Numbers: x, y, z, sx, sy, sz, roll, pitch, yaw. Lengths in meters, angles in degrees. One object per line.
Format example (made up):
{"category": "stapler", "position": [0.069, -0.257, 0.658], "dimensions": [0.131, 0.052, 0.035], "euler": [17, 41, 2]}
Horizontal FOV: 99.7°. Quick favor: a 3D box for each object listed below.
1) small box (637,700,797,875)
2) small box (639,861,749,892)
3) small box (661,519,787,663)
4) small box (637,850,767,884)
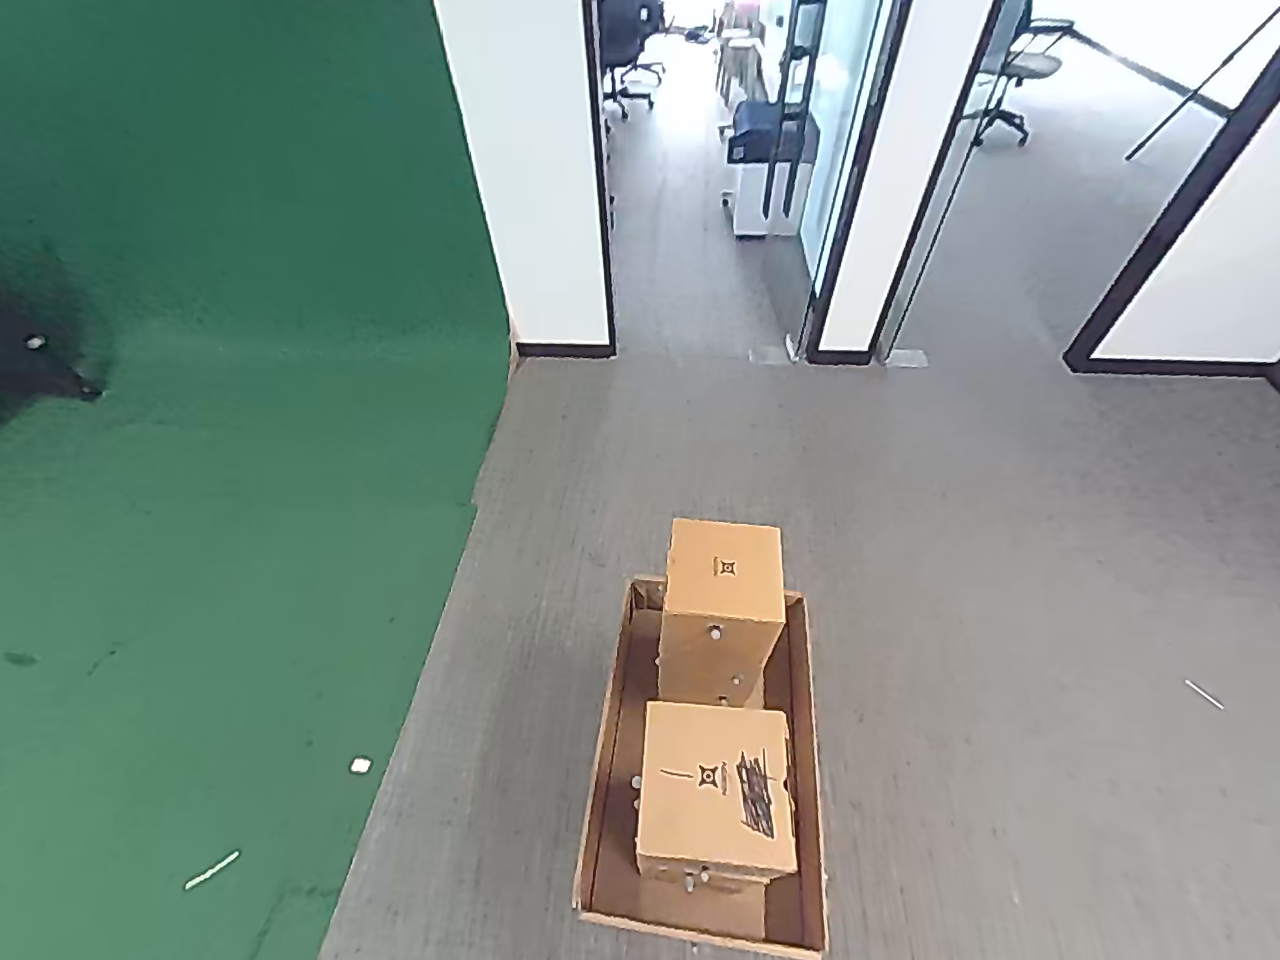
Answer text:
{"category": "small box", "position": [0.092, 0.399, 0.696], "dimensions": [0.179, 0.176, 0.168], "euler": [3, 52, 5]}
{"category": "small box", "position": [0.095, 0.608, 0.951], "dimensions": [0.179, 0.176, 0.168], "euler": [7, 51, 5]}
{"category": "small box", "position": [0.130, 0.184, 0.877], "dimensions": [0.179, 0.176, 0.168], "euler": [5, 51, 5]}
{"category": "small box", "position": [0.094, 0.503, 0.824], "dimensions": [0.179, 0.176, 0.168], "euler": [4, 52, 6]}
